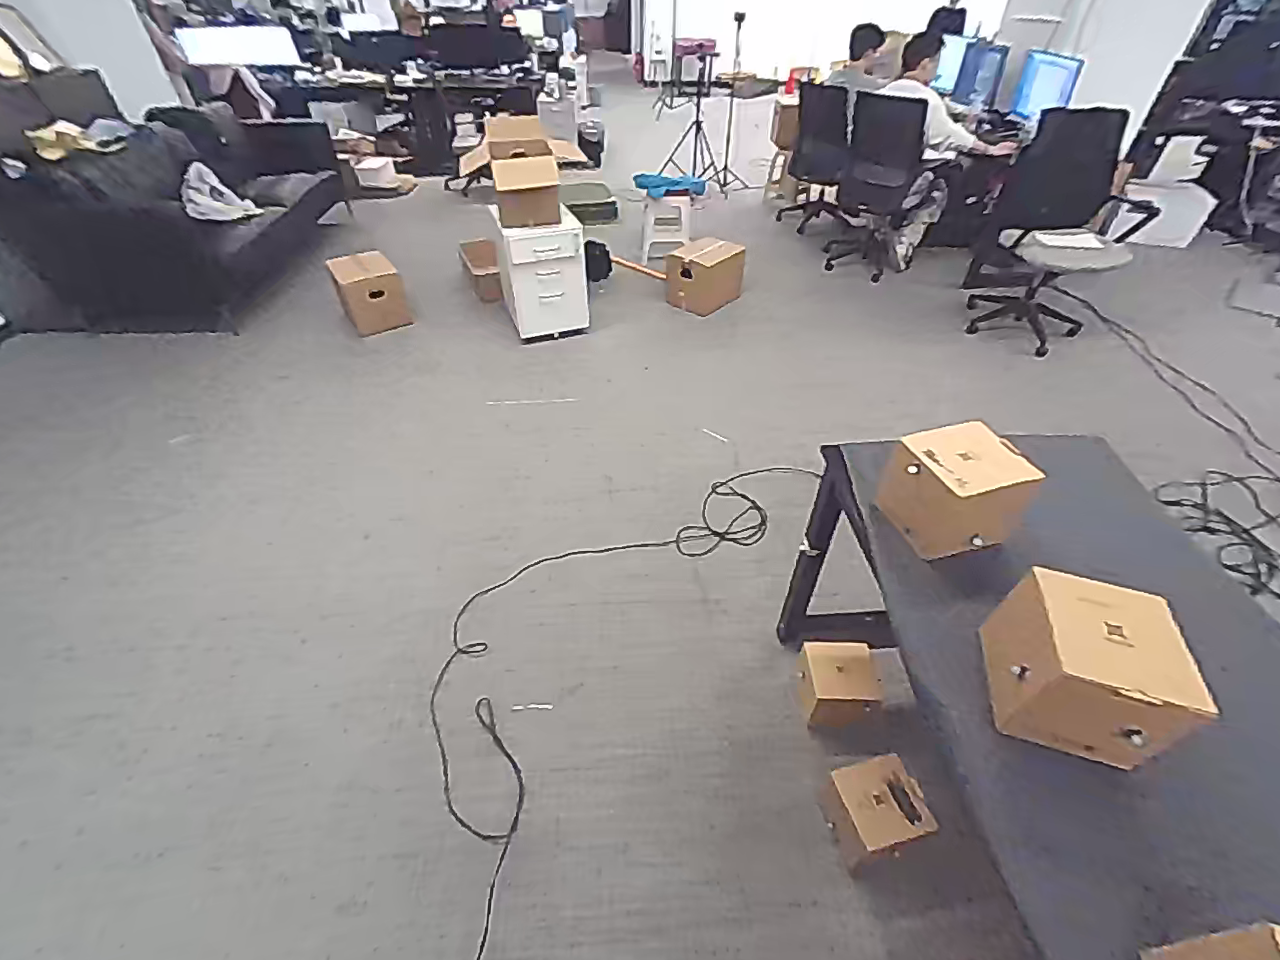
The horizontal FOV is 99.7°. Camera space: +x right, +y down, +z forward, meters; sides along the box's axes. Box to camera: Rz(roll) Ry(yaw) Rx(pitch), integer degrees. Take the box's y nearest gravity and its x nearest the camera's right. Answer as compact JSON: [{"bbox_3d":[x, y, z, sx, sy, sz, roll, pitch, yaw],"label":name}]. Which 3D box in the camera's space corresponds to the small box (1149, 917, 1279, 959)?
[{"bbox_3d":[0.588,0.515,0.448,0.168,0.176,0.179,14,42,12],"label":"small box"}]

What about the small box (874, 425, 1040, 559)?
[{"bbox_3d":[0.573,0.022,1.005,0.179,0.176,0.168,-11,43,-11],"label":"small box"}]

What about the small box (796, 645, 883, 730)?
[{"bbox_3d":[0.536,0.572,1.487,0.179,0.176,0.168,1,41,0],"label":"small box"}]

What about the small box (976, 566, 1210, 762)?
[{"bbox_3d":[0.598,0.255,0.747,0.168,0.176,0.179,14,42,10],"label":"small box"}]
